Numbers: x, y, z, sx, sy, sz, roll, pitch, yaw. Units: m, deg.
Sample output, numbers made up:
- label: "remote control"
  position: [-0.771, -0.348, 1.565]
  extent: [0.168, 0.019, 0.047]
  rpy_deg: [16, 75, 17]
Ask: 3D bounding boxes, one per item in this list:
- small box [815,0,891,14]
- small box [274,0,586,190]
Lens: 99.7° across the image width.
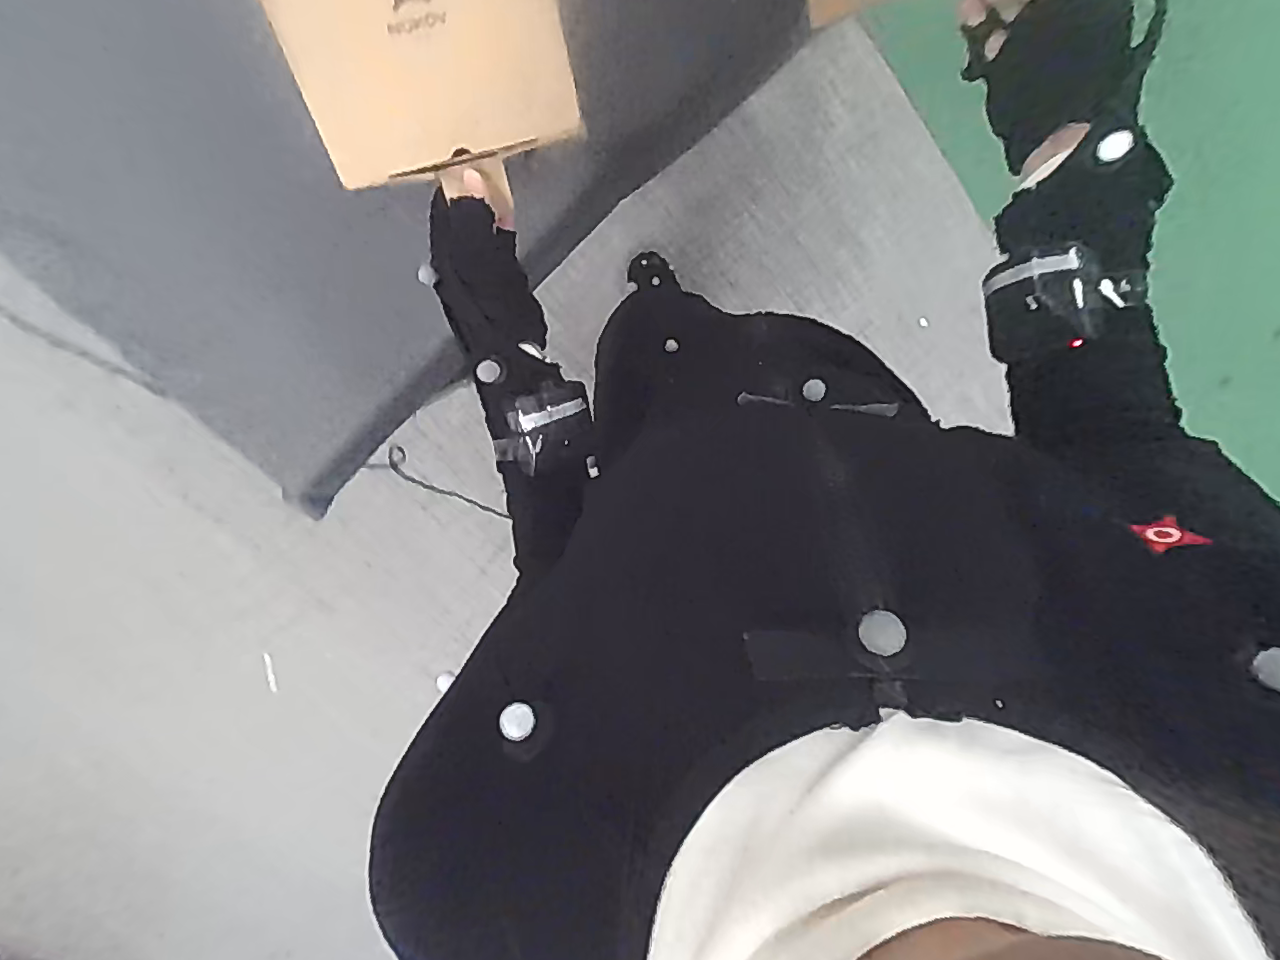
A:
- label: "small box"
  position: [0.200, -0.427, 0.333]
  extent: [0.168, 0.176, 0.179]
  rpy_deg: [-23, 124, 2]
- label: "small box"
  position: [-0.137, -0.328, 0.389]
  extent: [0.168, 0.176, 0.179]
  rpy_deg: [-13, 121, 3]
